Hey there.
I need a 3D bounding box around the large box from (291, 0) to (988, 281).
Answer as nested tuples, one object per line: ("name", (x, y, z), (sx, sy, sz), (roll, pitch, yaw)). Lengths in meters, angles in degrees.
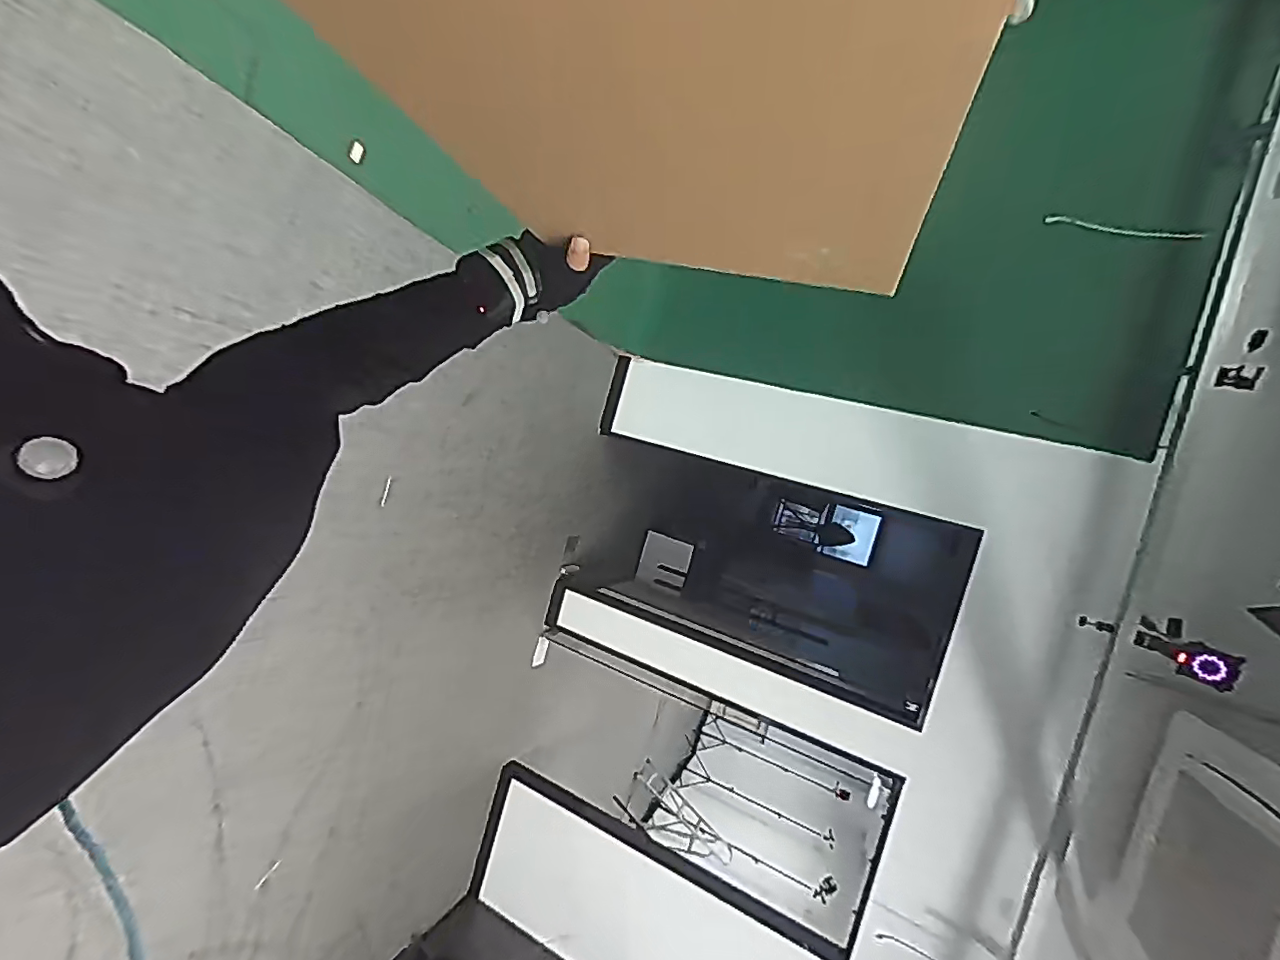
("large box", (0.028, -0.339, 0.279), (0.408, 0.320, 0.320), (-1, 106, -74))
